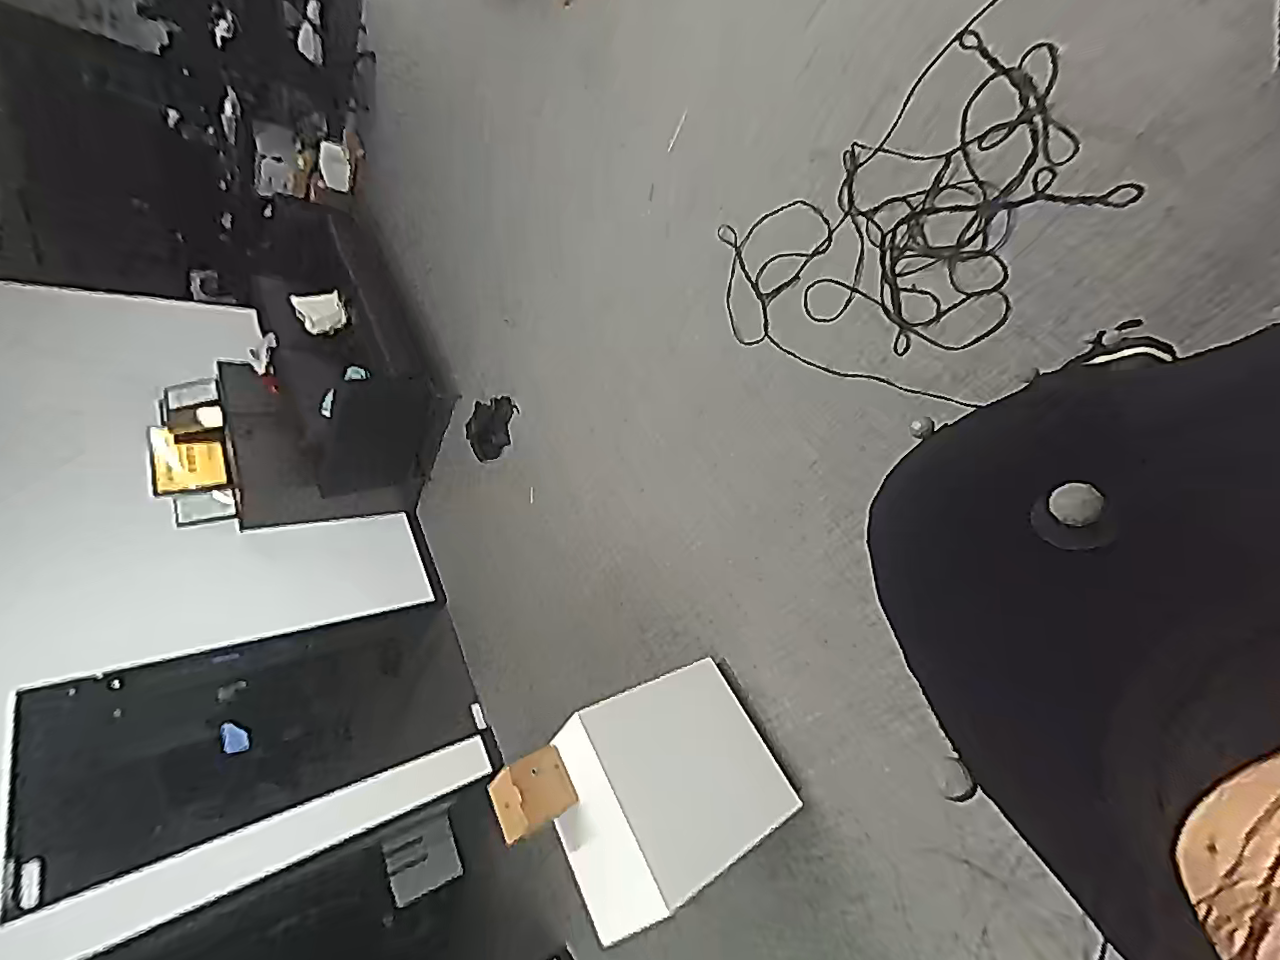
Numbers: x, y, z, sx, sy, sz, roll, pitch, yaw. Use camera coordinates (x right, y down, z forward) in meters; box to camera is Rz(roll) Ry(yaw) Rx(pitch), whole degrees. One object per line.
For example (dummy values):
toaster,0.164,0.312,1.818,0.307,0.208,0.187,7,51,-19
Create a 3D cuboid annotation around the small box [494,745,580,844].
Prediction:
small box,-0.292,0.898,1.557,0.168,0.176,0.179,56,133,30
